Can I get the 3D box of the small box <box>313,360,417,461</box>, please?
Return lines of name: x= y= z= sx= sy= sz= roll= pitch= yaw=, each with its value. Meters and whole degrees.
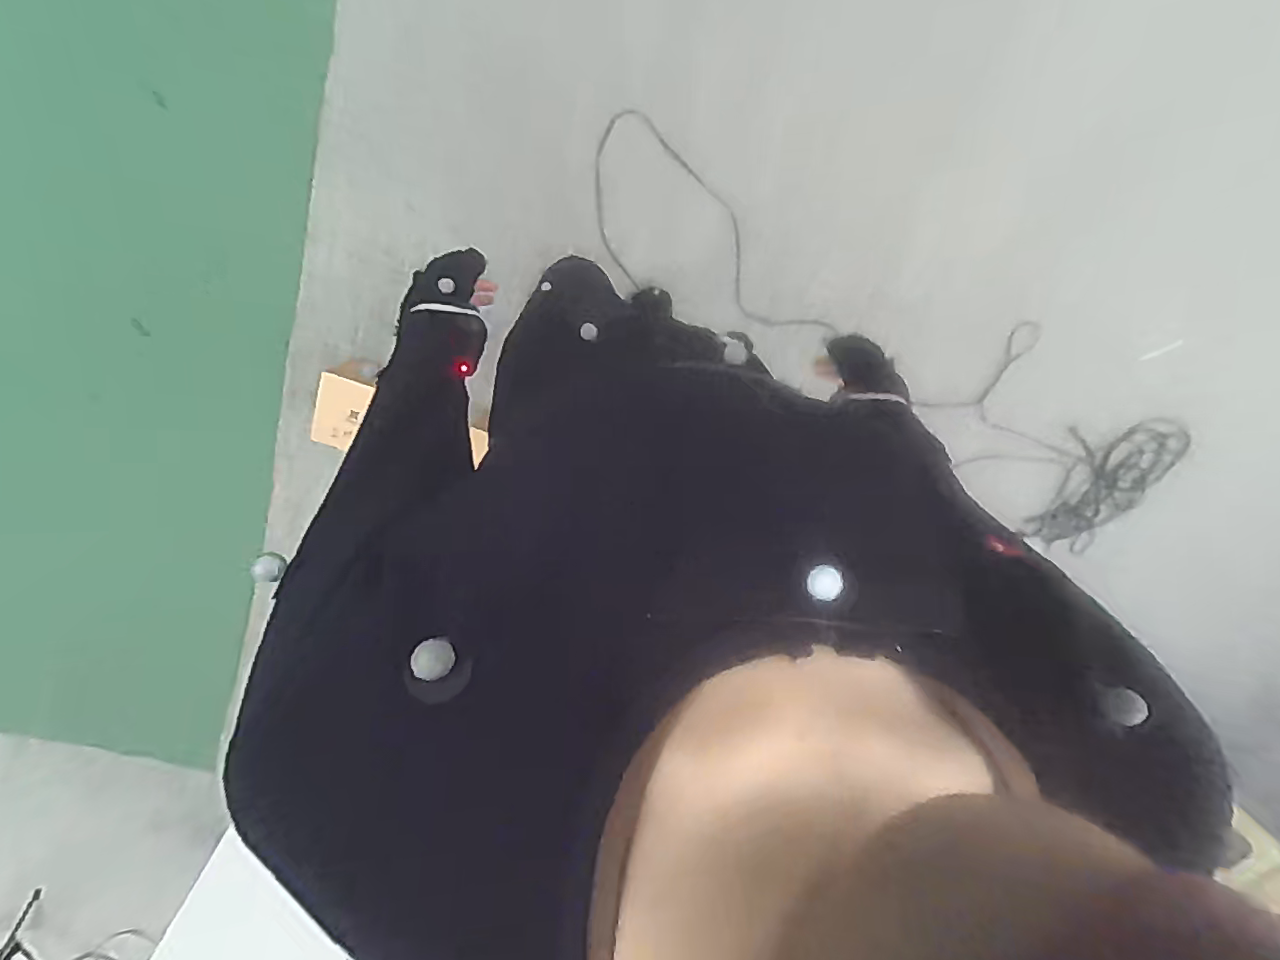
small box: x=-0.656 y=-0.174 z=1.309 sx=0.168 sy=0.176 sz=0.179 roll=19 pitch=110 yaw=-13
